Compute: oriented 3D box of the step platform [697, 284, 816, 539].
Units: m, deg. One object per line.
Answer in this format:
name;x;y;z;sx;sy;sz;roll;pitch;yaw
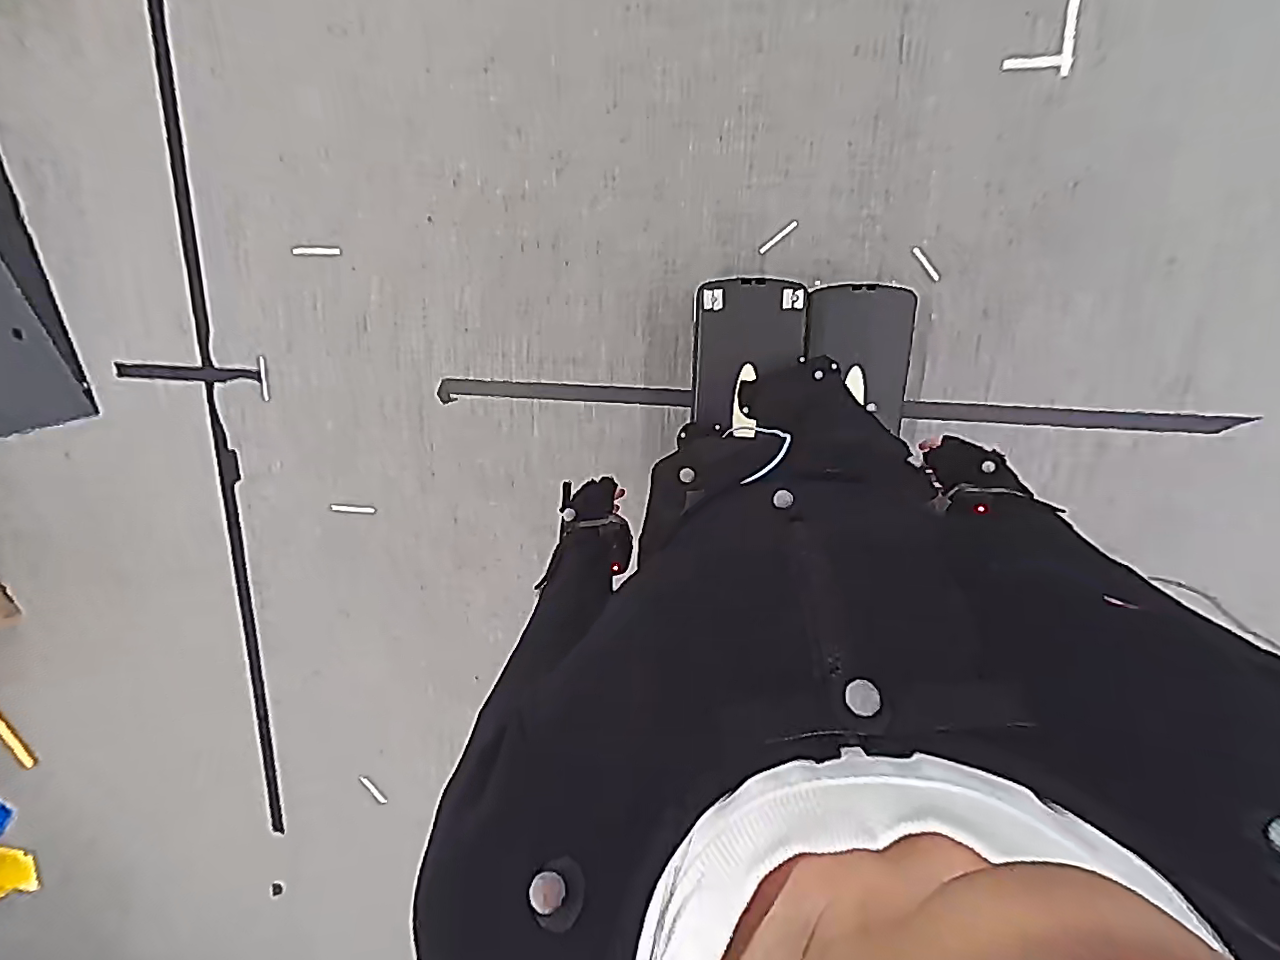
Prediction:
step platform;0.309;-0.179;1.488;0.286;0.204;0.684;1;101;6
